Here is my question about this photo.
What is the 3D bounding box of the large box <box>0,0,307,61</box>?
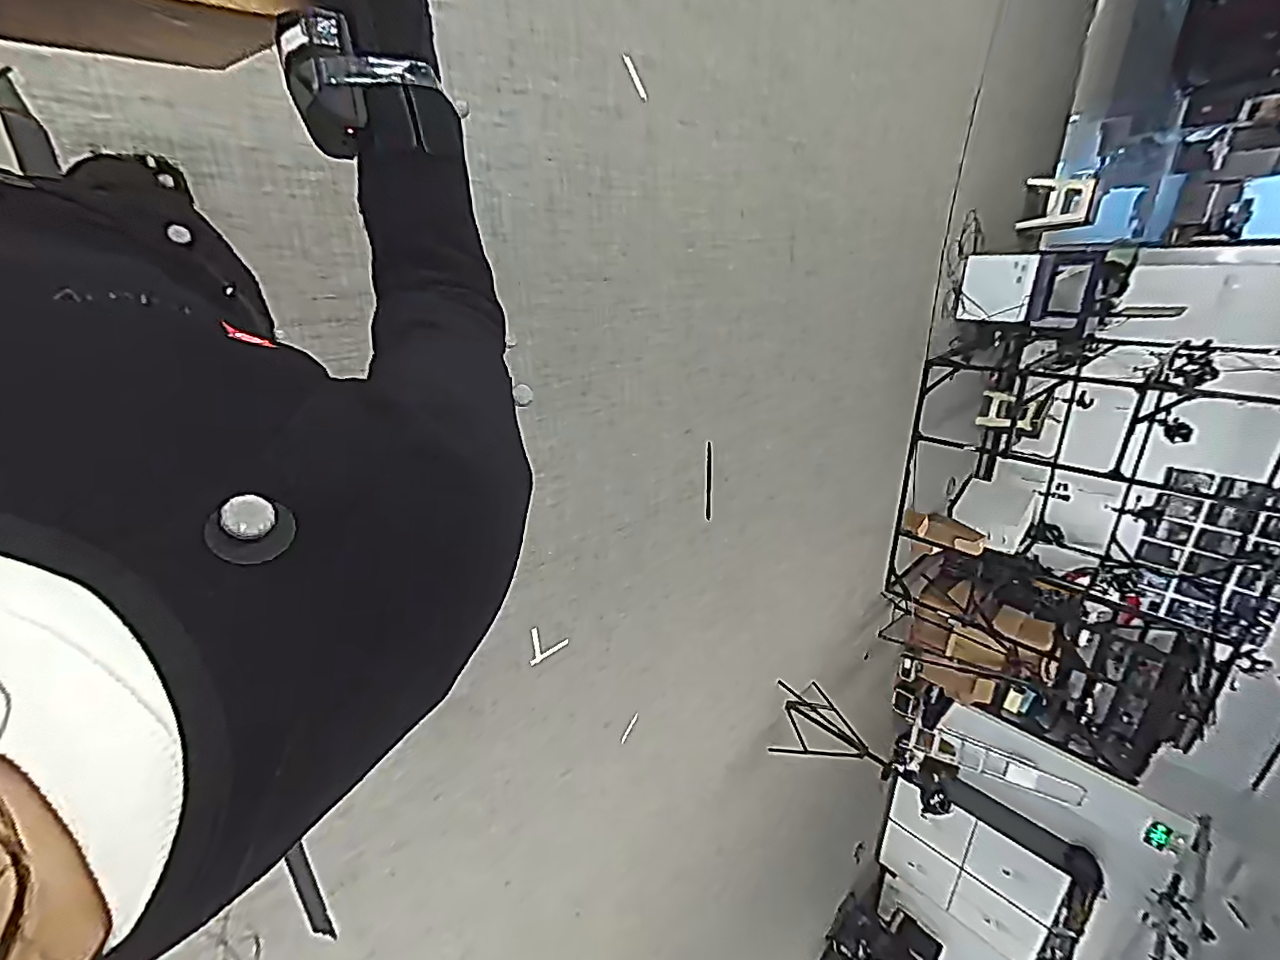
[{"bbox_3d":[-0.448,-0.418,0.238,0.408,0.320,0.320,-23,129,-38],"label":"large box"}]
